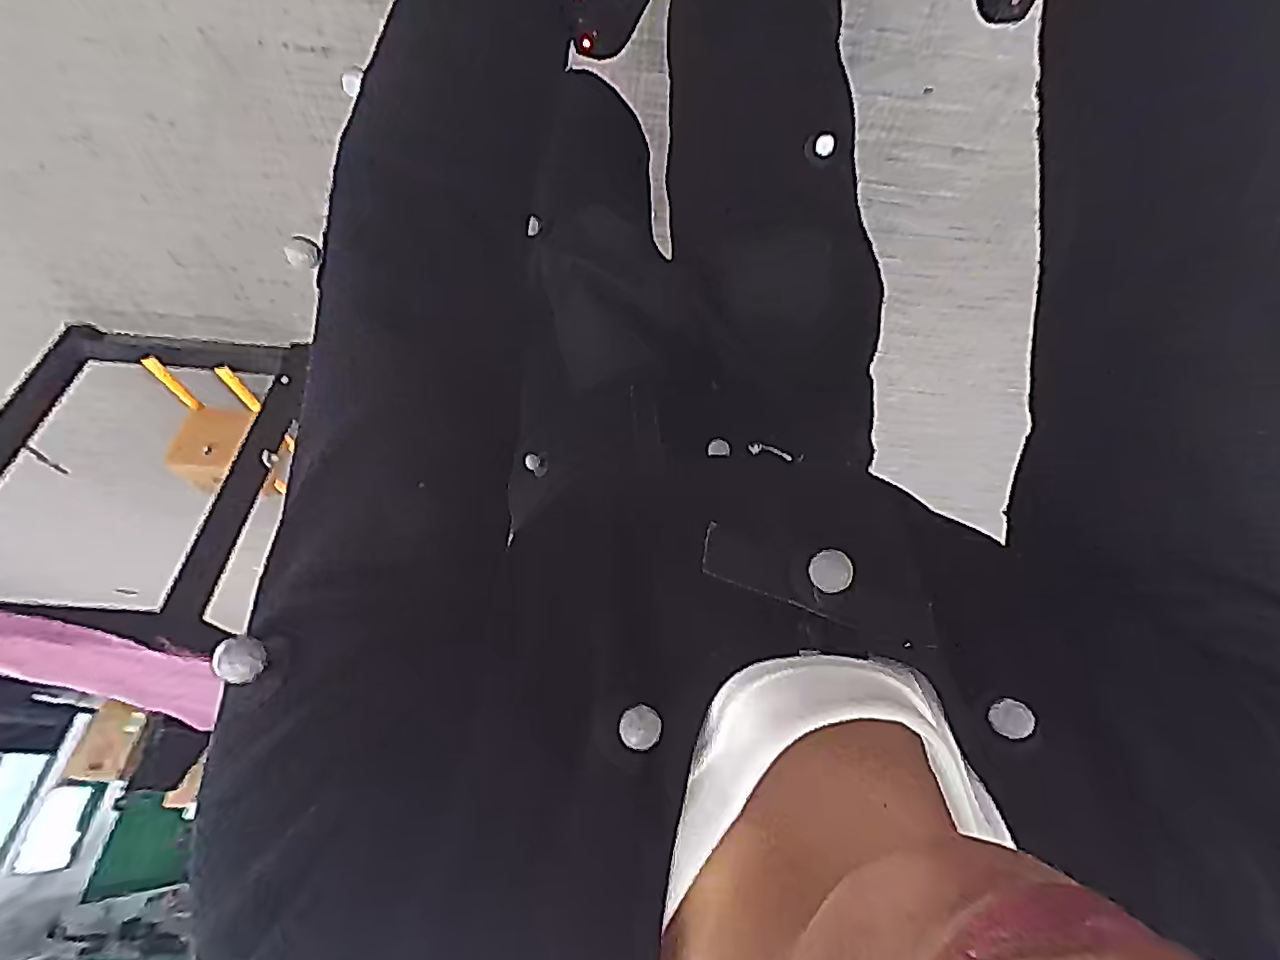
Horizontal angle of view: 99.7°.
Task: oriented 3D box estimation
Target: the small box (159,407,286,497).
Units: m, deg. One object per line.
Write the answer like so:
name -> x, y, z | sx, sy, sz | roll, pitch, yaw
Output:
small box -> -1.058, -0.073, 1.390 | 0.179, 0.176, 0.168 | 3, 151, -4
